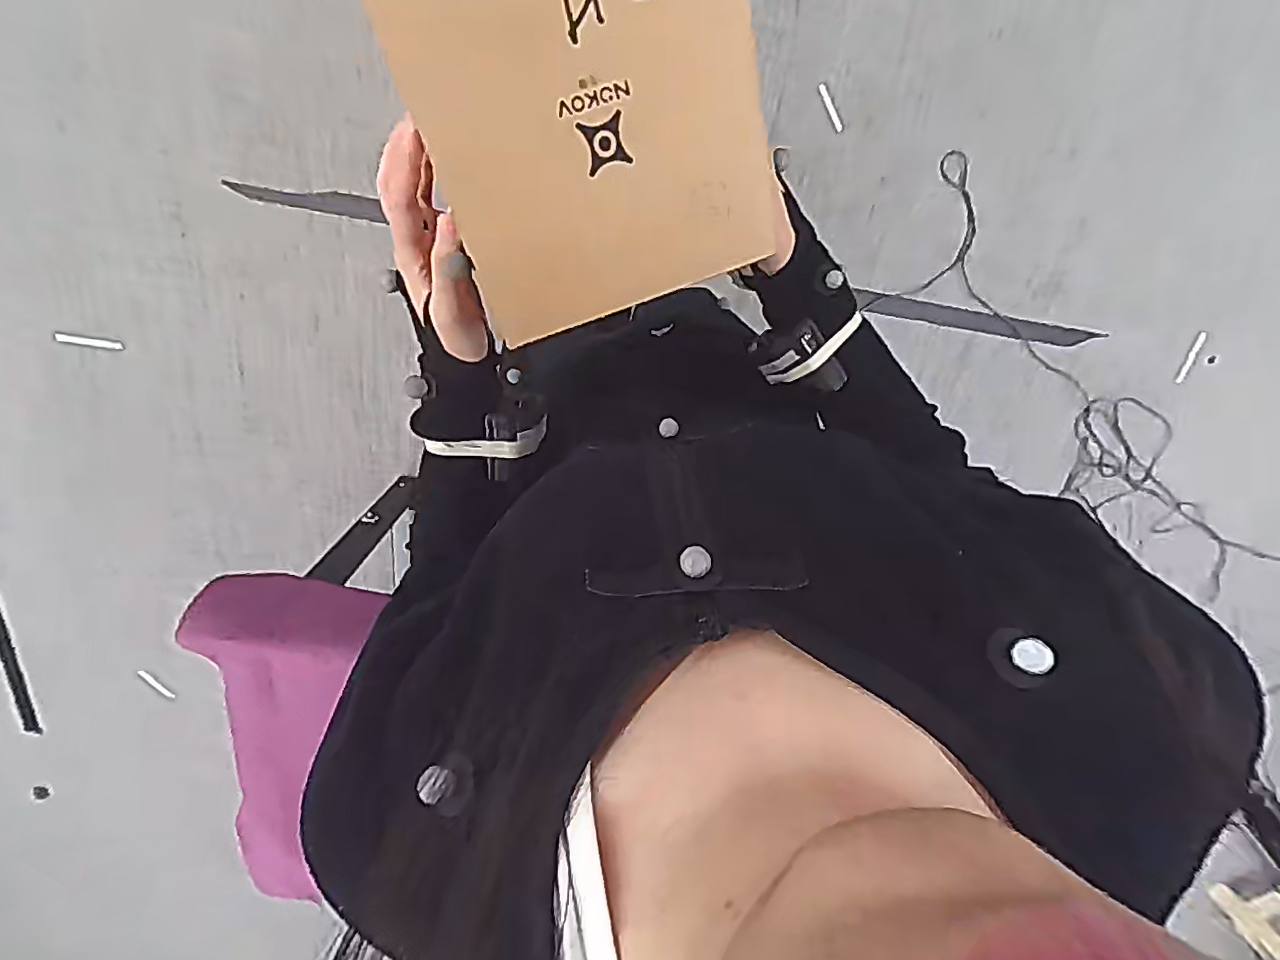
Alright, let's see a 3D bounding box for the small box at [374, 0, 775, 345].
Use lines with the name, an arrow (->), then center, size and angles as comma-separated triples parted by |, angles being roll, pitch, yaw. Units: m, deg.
small box -> -0.038, -0.209, 0.332 | 0.168, 0.176, 0.179 | -21, 122, -6
